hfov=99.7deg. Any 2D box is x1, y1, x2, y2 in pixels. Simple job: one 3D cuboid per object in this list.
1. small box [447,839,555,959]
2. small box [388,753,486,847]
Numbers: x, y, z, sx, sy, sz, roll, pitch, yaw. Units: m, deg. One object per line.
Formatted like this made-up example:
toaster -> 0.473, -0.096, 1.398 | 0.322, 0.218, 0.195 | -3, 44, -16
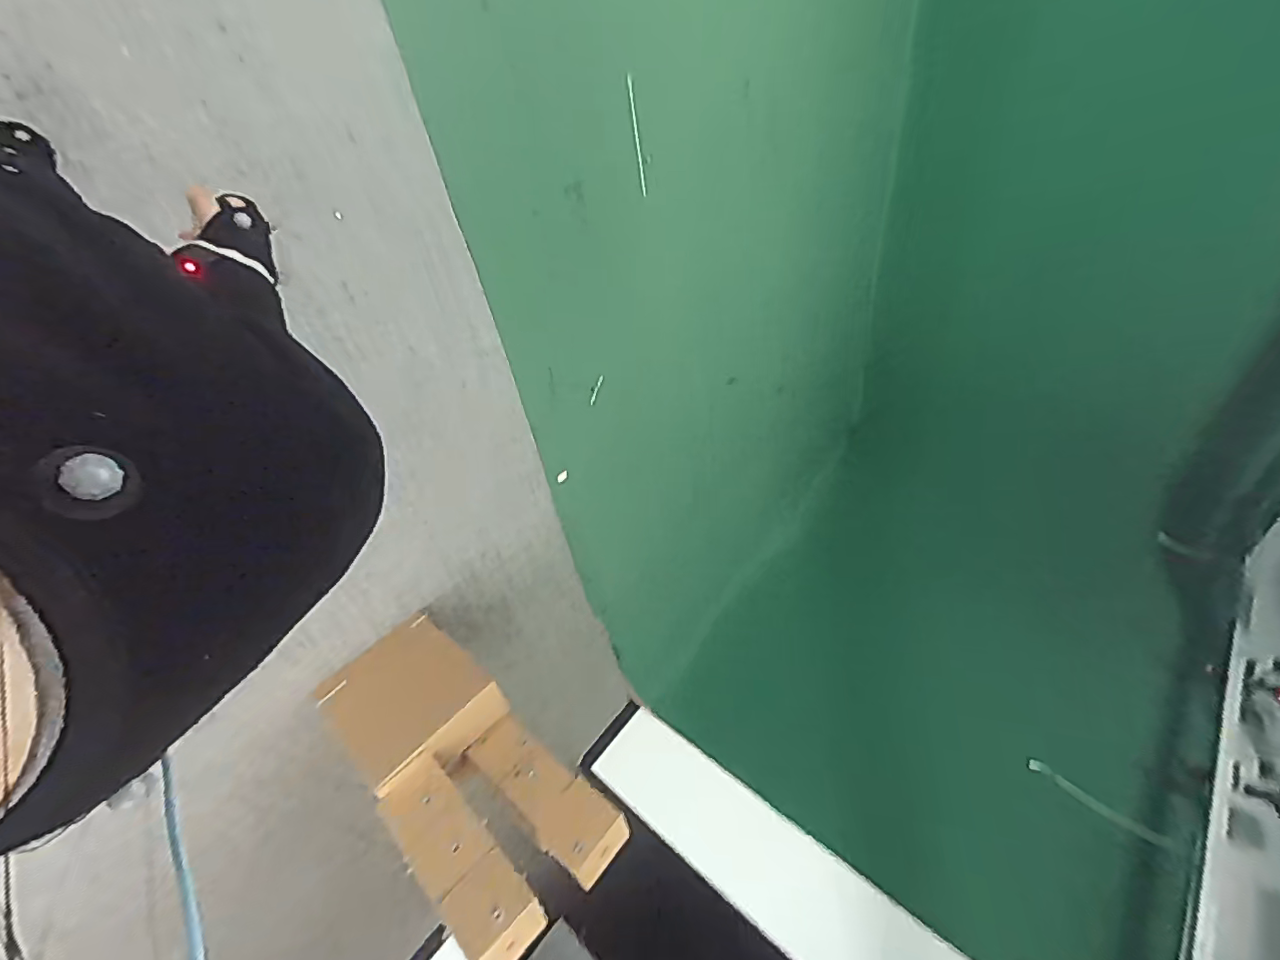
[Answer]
small box -> -0.334, 1.025, 1.309 | 0.179, 0.176, 0.168 | -33, 132, -34
small box -> -0.563, 0.909, 1.511 | 0.179, 0.176, 0.168 | -38, 134, -33
